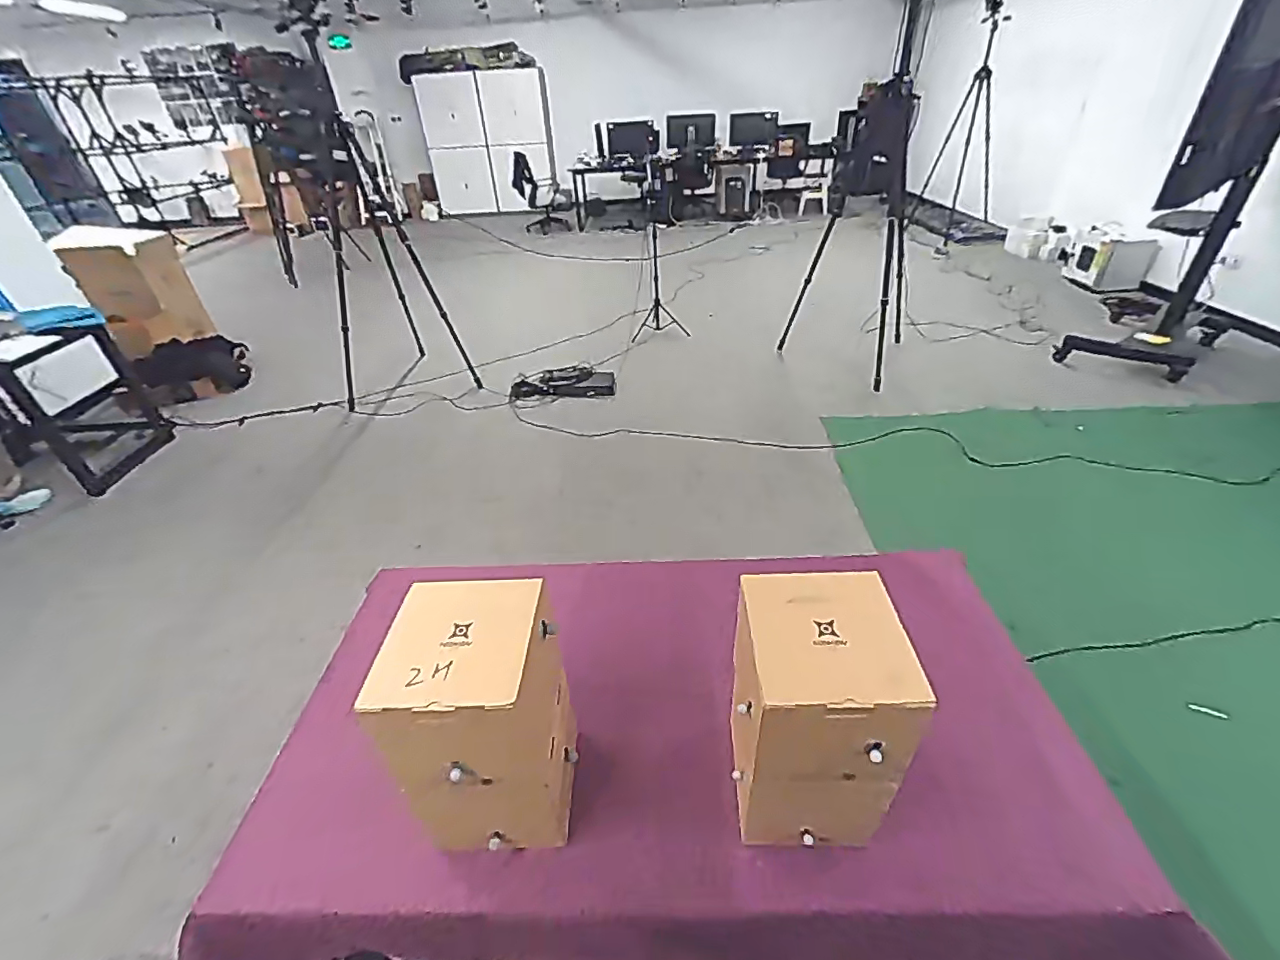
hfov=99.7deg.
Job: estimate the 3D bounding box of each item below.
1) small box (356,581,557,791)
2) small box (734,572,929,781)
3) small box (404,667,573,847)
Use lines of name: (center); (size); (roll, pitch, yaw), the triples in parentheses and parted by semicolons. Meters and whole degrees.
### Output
small box: (-0.199, 0.242, 0.650); (0.168, 0.176, 0.179); (-2, 36, 3)
small box: (0.204, 0.230, 0.633); (0.168, 0.176, 0.179); (-2, 36, 2)
small box: (-0.189, 0.379, 0.743); (0.179, 0.176, 0.168); (-2, 35, 1)
